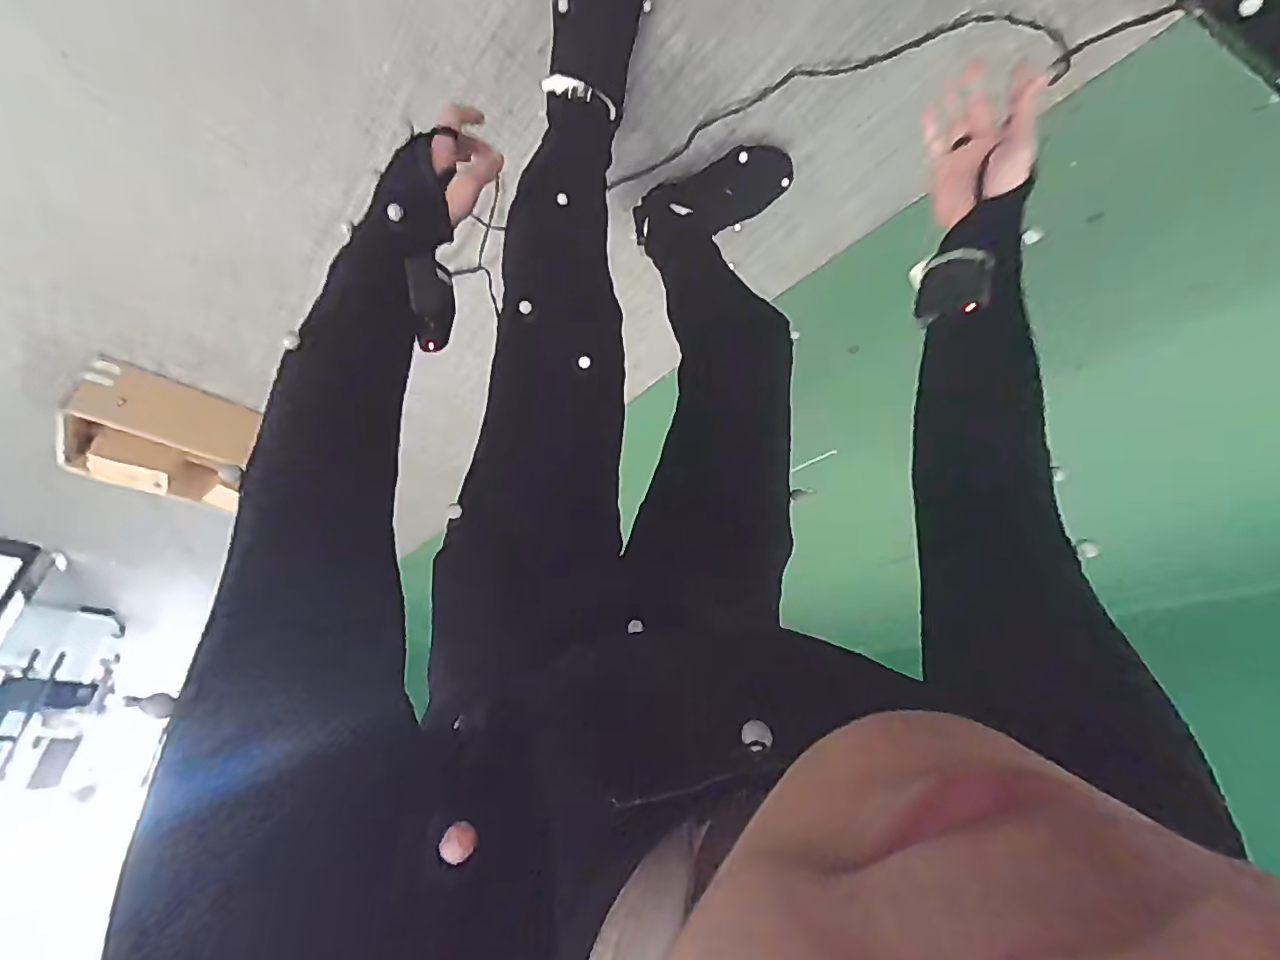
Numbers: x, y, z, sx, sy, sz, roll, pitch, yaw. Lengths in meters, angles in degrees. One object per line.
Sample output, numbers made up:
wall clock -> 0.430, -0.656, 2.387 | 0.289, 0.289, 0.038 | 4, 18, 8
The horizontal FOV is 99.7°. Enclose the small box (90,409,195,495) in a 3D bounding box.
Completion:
small box -> -1.451, -0.084, 1.584 | 0.179, 0.176, 0.168 | 22, 143, -32
